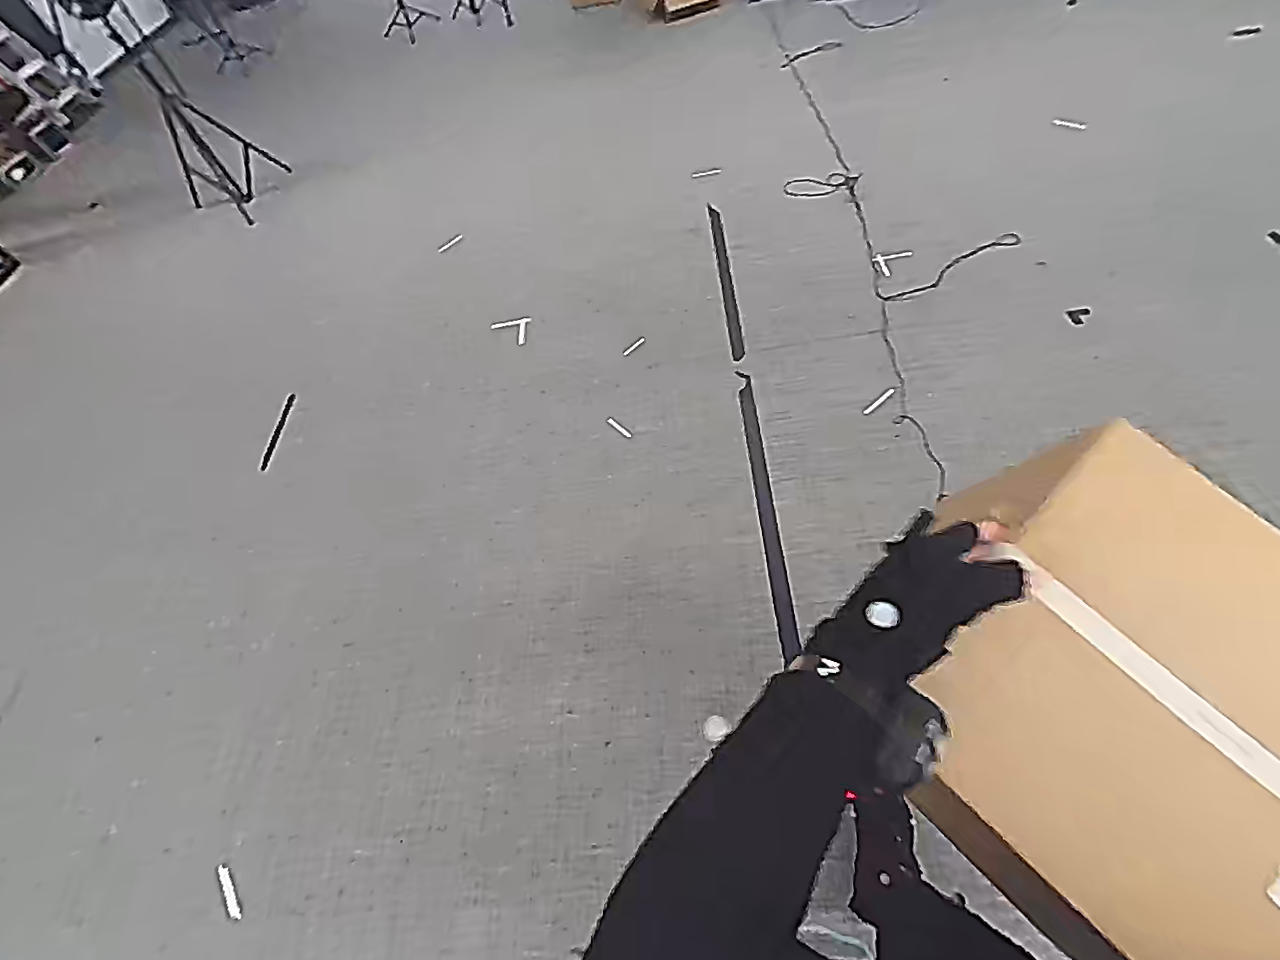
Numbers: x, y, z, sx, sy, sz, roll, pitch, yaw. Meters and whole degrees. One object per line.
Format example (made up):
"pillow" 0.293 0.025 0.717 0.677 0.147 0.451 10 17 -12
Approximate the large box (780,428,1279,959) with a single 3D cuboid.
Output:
"large box" 0.413 0.226 0.529 0.408 0.320 0.320 42 81 13
